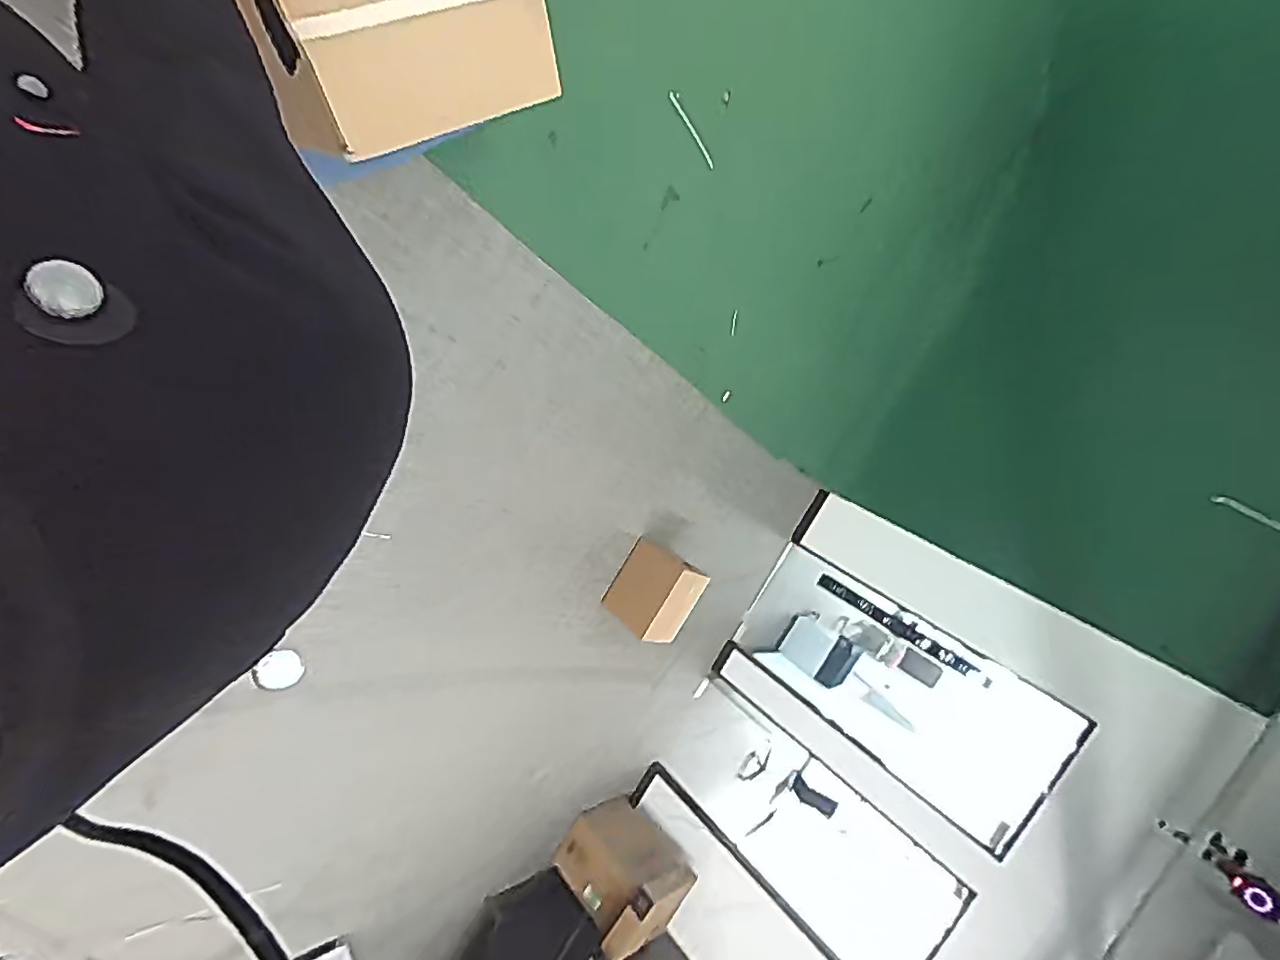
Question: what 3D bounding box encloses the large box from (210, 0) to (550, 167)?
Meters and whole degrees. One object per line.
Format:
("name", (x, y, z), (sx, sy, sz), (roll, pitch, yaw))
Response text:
("large box", (-0.421, -0.753, 0.869), (0.408, 0.320, 0.320), (-37, 139, -24))
